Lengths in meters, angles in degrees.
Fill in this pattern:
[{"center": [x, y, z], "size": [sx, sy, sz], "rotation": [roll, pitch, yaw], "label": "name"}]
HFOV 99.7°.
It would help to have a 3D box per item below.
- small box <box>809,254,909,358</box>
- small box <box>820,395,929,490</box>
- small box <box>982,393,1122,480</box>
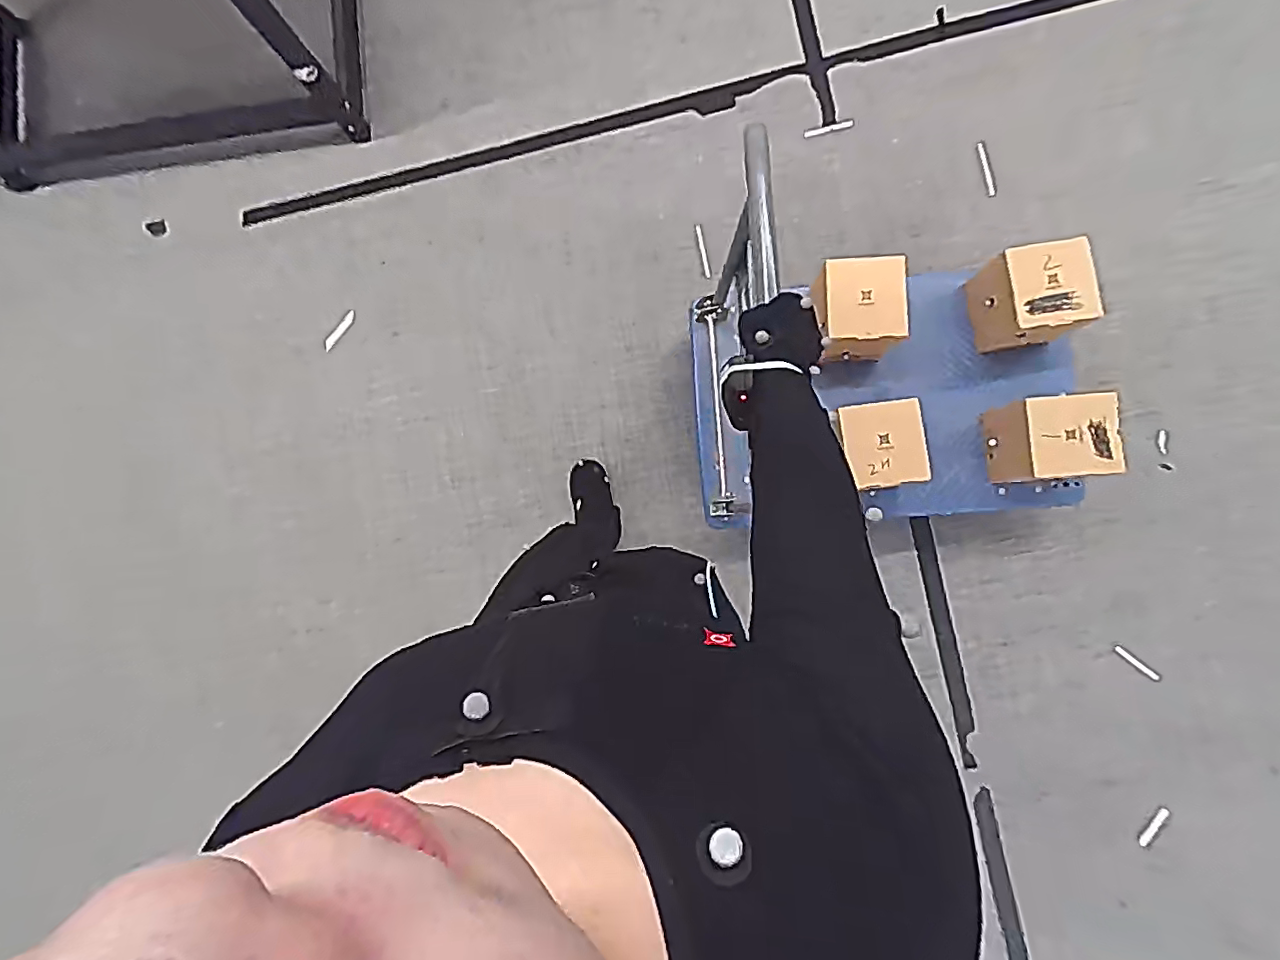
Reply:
[{"center": [0.485, -0.385, 1.218], "size": [0.168, 0.176, 0.179], "rotation": [-1, 88, 4], "label": "small box"}, {"center": [0.508, -0.076, 1.195], "size": [0.168, 0.176, 0.179], "rotation": [-6, 86, 4], "label": "small box"}, {"center": [0.880, -0.088, 1.169], "size": [0.179, 0.176, 0.168], "rotation": [-3, 86, 5], "label": "small box"}]
